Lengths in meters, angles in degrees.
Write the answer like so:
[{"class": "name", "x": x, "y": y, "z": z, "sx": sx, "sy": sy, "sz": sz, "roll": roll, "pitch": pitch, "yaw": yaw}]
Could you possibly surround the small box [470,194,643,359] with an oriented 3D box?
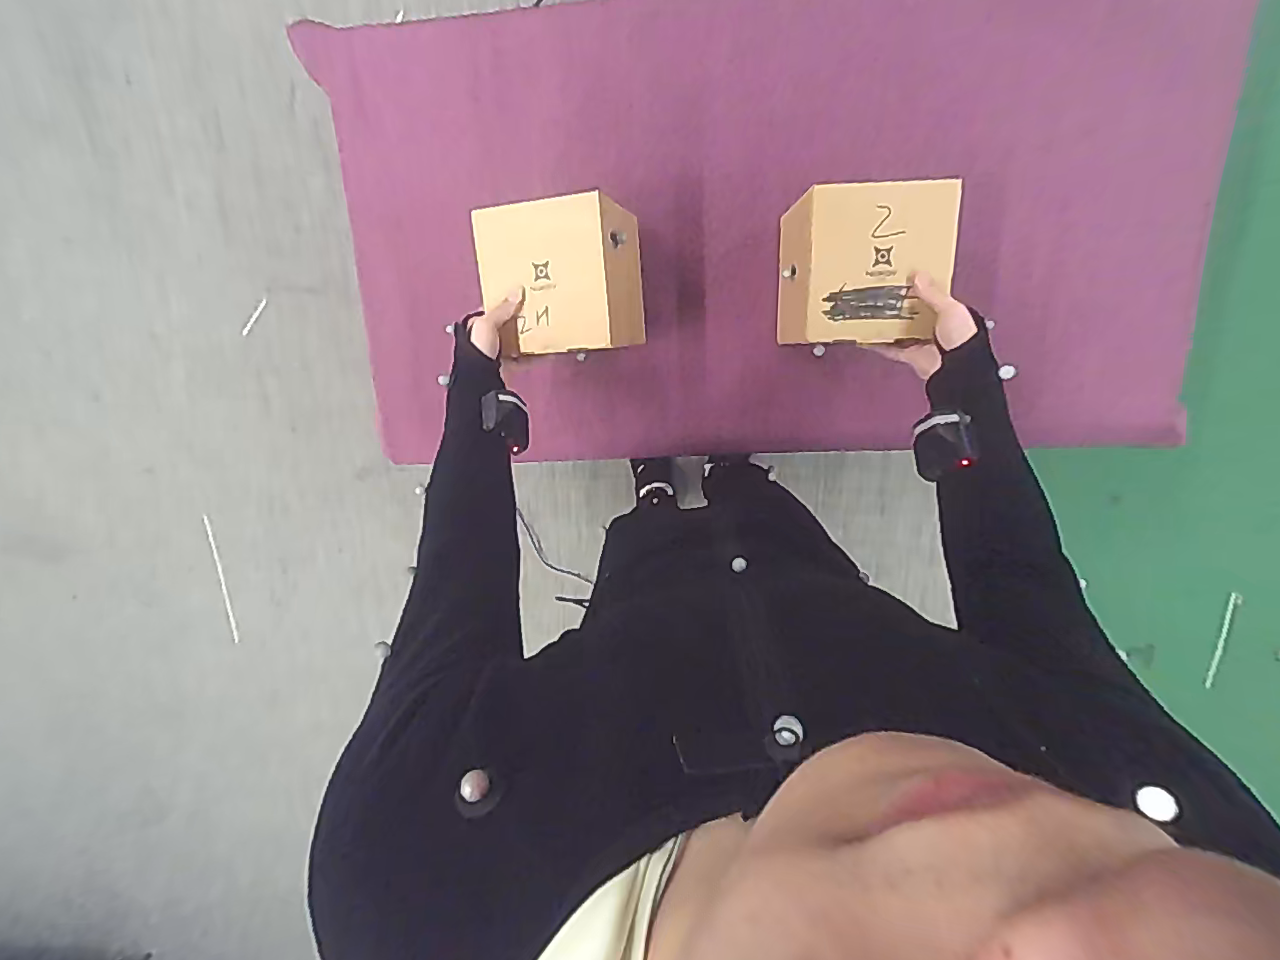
[{"class": "small box", "x": -0.098, "y": -0.257, "z": 0.717, "sx": 0.168, "sy": 0.176, "sz": 0.179, "roll": 0, "pitch": 106, "yaw": 16}]
